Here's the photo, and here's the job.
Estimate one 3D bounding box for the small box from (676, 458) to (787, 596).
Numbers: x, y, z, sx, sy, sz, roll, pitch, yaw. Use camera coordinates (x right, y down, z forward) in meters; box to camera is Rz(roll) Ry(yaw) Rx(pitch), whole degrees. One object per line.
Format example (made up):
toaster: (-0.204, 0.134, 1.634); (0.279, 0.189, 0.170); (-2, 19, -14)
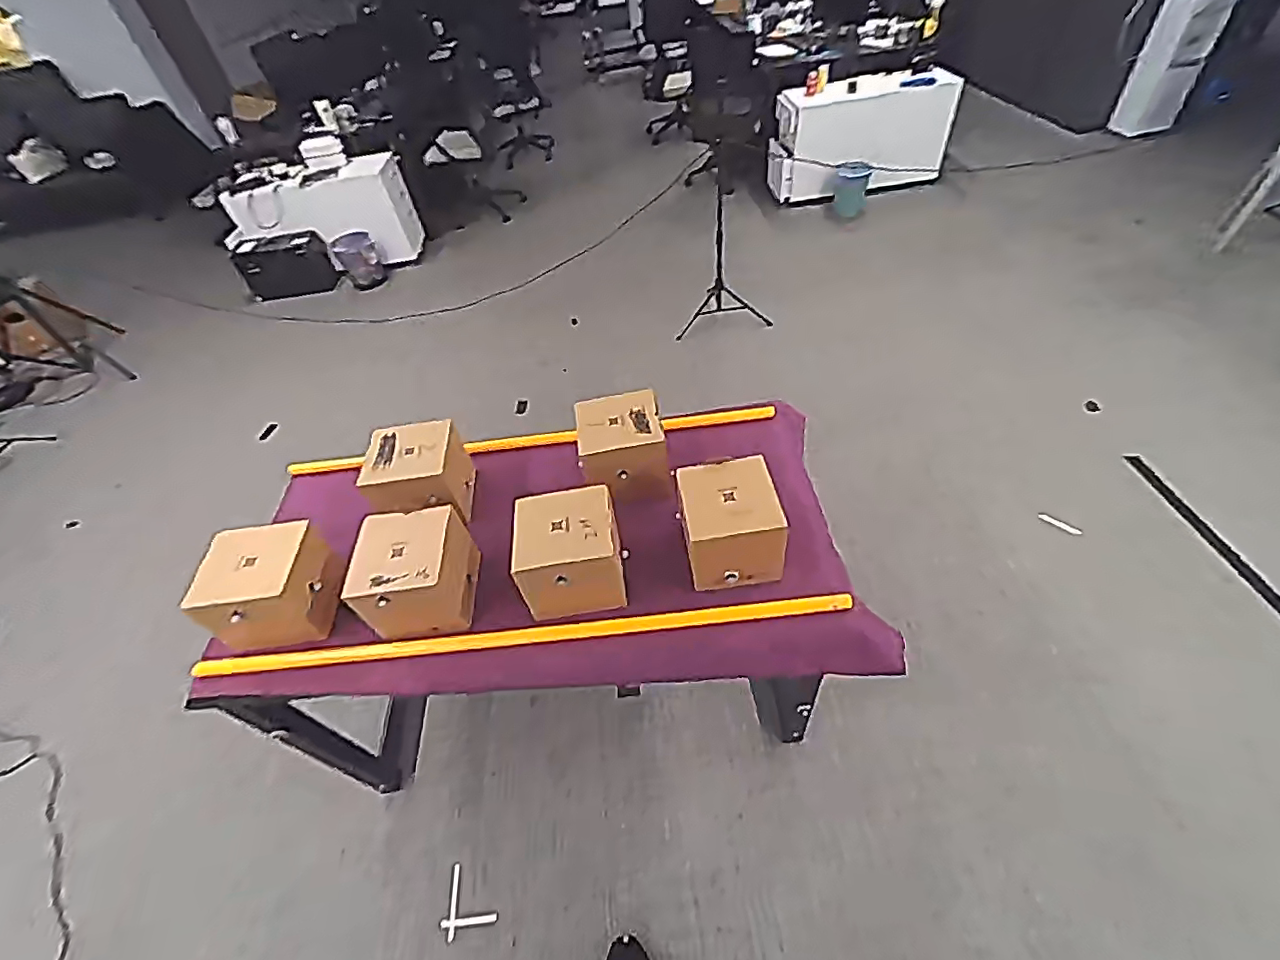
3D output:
small box: (0.163, 0.088, 1.001); (0.168, 0.176, 0.179); (-10, 45, 2)

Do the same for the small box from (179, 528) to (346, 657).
small box: (-0.692, 0.215, 1.020); (0.179, 0.176, 0.168); (-9, 47, 0)

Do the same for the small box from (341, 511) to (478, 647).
small box: (-0.413, 0.185, 1.006); (0.168, 0.176, 0.179); (-9, 47, 2)

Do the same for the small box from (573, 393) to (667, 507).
small box: (-0.039, -0.060, 1.169); (0.179, 0.176, 0.168); (-11, 48, 0)

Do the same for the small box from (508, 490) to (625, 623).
small box: (-0.130, 0.145, 0.997); (0.179, 0.176, 0.168); (-9, 46, 0)
